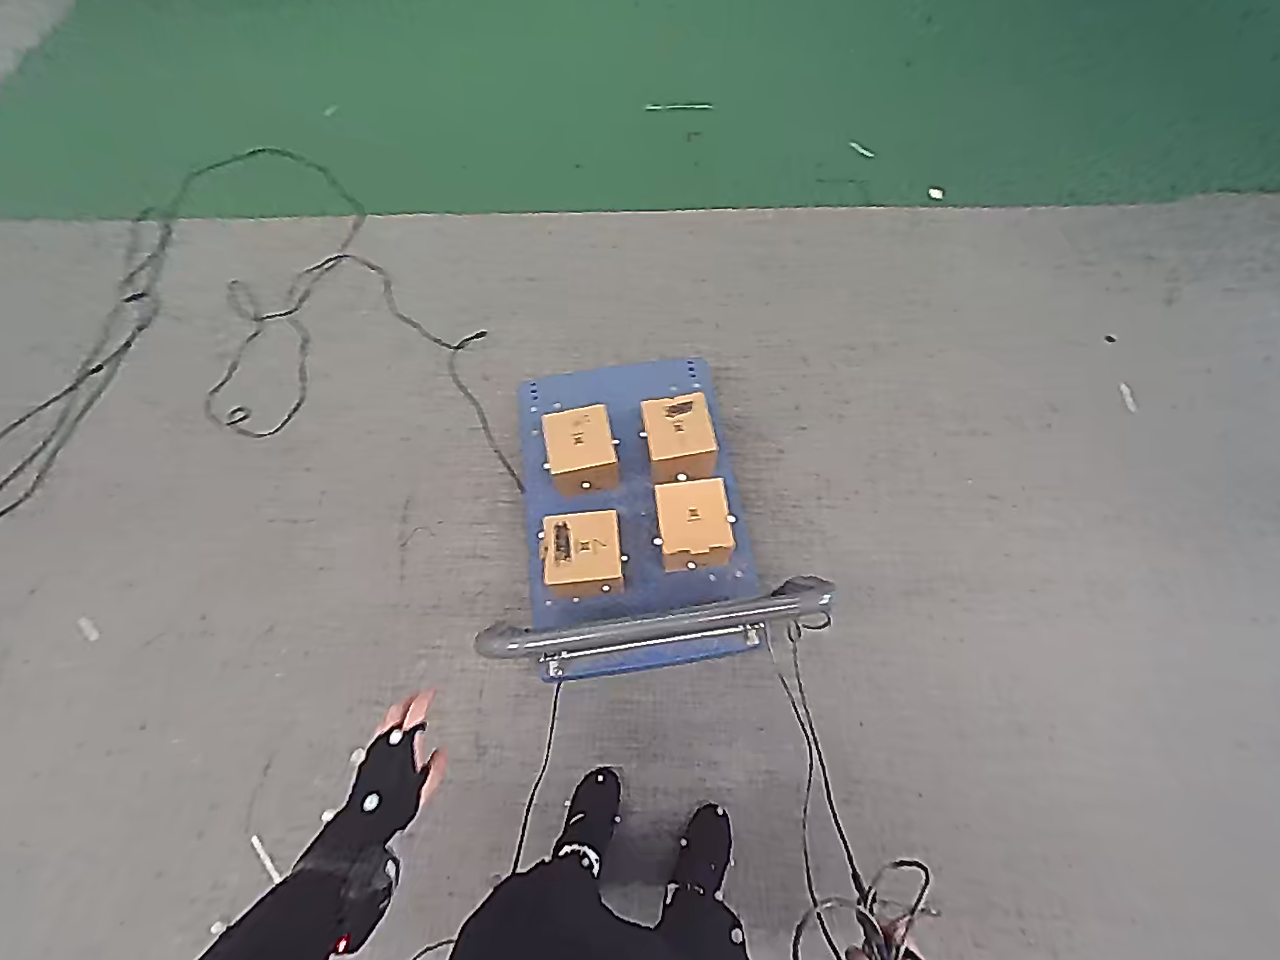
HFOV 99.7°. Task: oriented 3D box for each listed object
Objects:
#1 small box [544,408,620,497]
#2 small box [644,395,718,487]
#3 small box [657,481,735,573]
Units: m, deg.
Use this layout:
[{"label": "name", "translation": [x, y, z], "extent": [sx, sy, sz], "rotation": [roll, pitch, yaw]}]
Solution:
[{"label": "small box", "translation": [-0.150, -0.065, 1.439], "extent": [0.168, 0.176, 0.179], "rotation": [-11, 66, -3]}, {"label": "small box", "translation": [0.105, -0.100, 1.443], "extent": [0.168, 0.176, 0.179], "rotation": [-10, 67, -1]}, {"label": "small box", "translation": [0.133, 0.120, 1.346], "extent": [0.168, 0.176, 0.179], "rotation": [-7, 67, 0]}]
